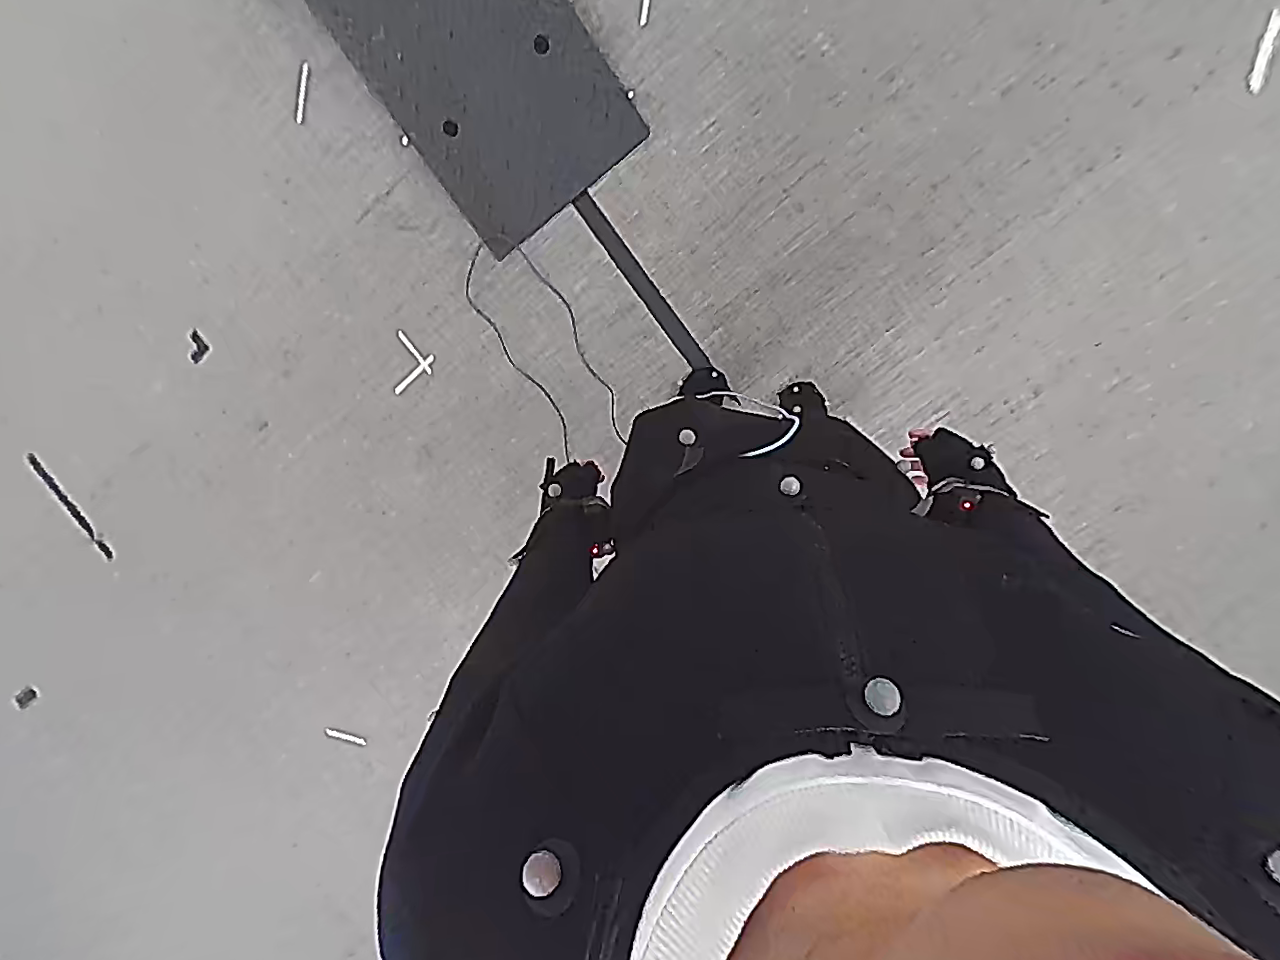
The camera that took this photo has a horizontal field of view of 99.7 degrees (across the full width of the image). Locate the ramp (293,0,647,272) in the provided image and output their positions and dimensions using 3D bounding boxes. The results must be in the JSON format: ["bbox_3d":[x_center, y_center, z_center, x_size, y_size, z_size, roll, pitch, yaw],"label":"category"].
[{"bbox_3d":[-0.462,-1.063,1.273,0.509,0.206,0.991,-37,93,11],"label":"ramp"}]
